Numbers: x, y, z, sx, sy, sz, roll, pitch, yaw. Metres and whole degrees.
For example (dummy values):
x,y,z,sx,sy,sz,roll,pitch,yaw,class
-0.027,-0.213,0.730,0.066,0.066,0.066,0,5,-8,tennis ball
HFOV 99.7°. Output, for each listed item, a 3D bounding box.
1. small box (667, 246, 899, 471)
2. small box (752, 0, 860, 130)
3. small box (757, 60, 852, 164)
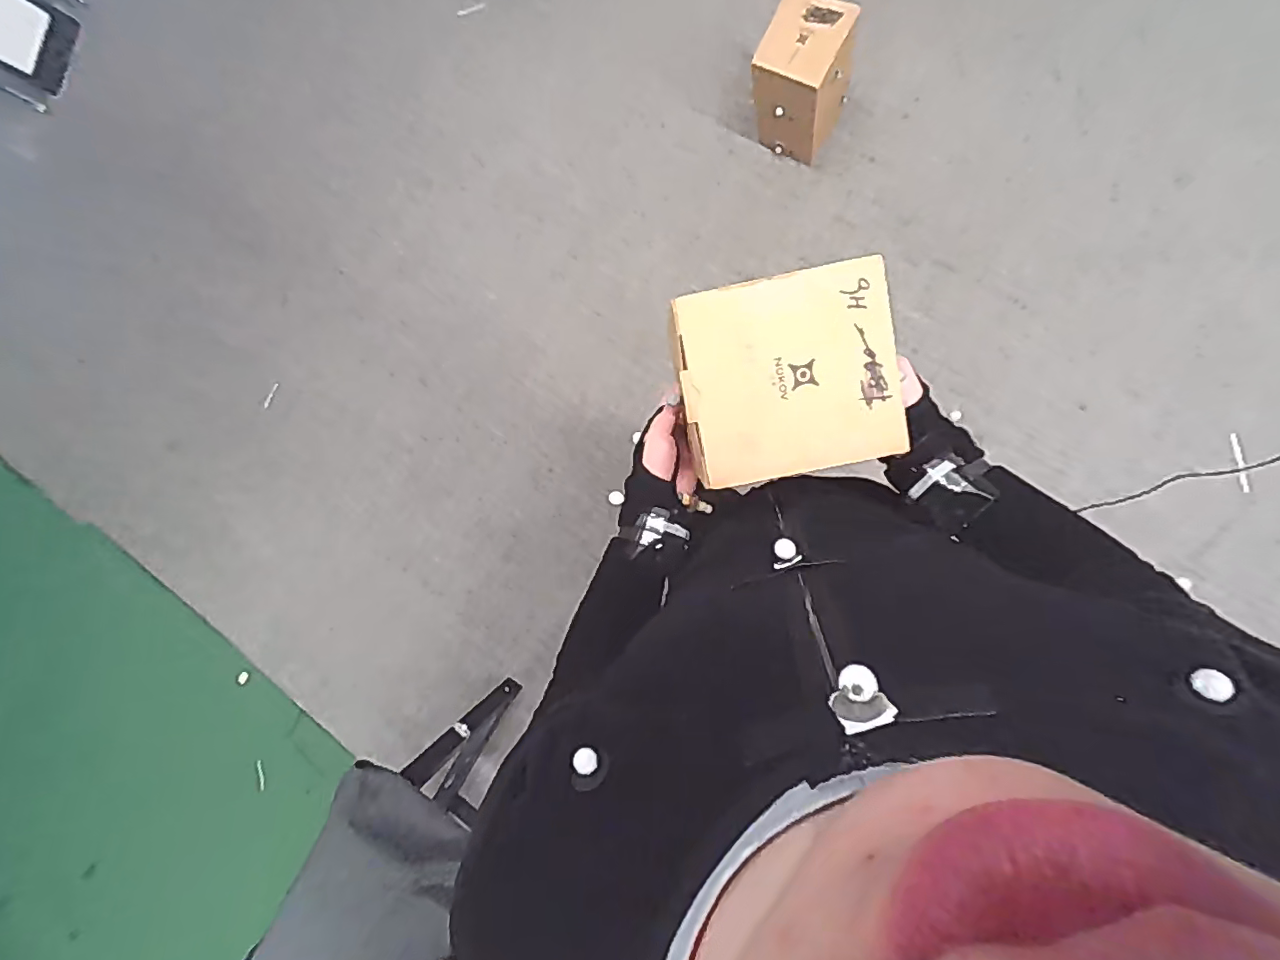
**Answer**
x,y,z,sx,sy,sz,roll,pitch,yaw,class
0.125,-0.108,0.534,0.179,0.176,0.168,-10,97,3,small box
0.369,-0.949,1.227,0.168,0.176,0.179,31,100,12,small box
0.414,-0.961,1.385,0.168,0.176,0.179,31,101,12,small box
